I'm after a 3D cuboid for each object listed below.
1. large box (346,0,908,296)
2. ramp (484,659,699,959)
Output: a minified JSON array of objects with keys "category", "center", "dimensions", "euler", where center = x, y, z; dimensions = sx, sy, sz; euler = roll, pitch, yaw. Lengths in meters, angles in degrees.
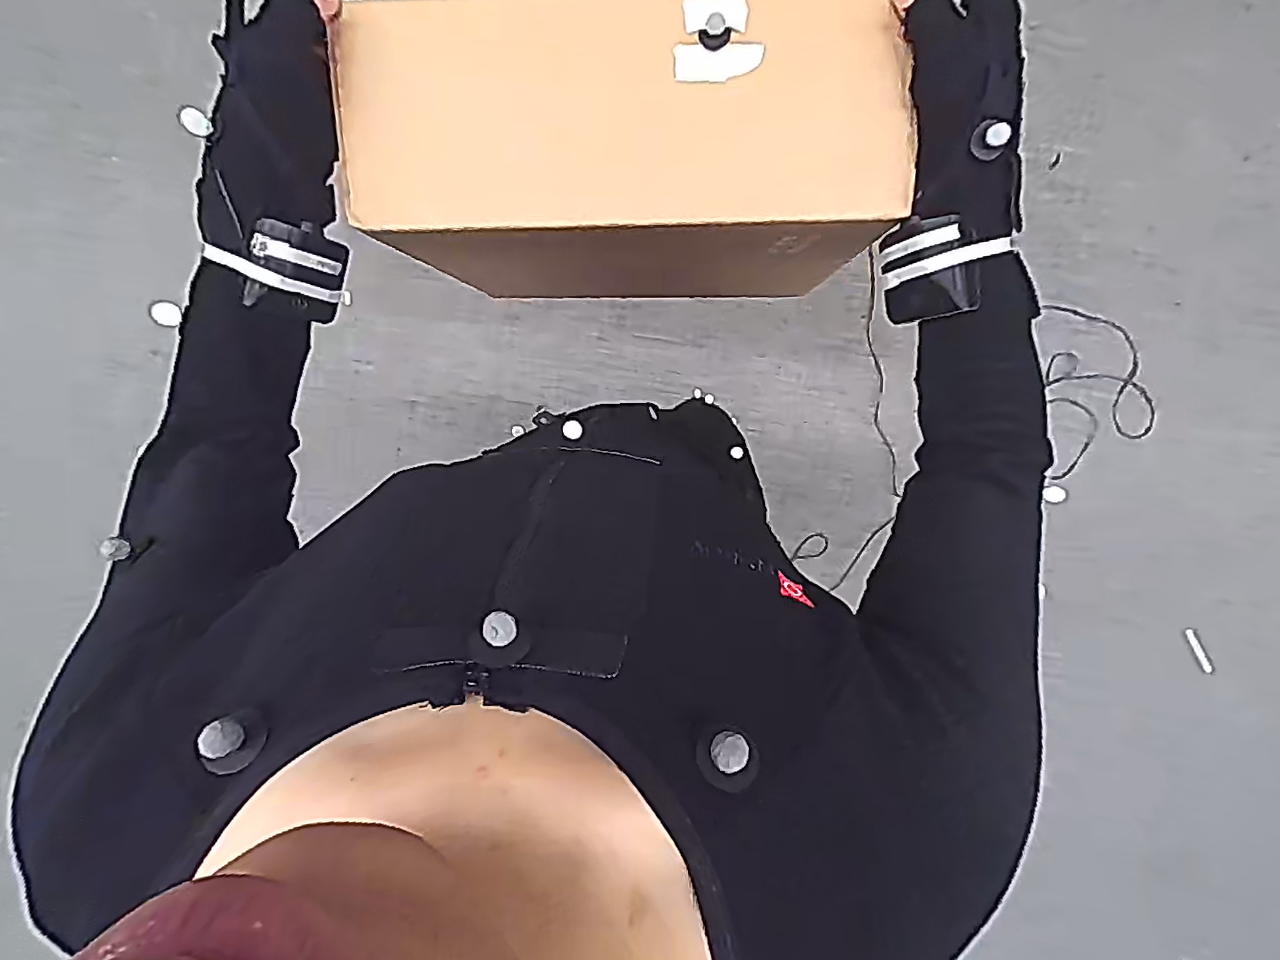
[{"category":"large box","center":[-0.007,-0.371,0.524],"dimensions":[0.408,0.320,0.320],"euler":[0,100,3]},{"category":"ramp","center":[-0.147,1.044,1.545],"dimensions":[0.509,0.206,0.991],"euler":[8,98,4]}]
